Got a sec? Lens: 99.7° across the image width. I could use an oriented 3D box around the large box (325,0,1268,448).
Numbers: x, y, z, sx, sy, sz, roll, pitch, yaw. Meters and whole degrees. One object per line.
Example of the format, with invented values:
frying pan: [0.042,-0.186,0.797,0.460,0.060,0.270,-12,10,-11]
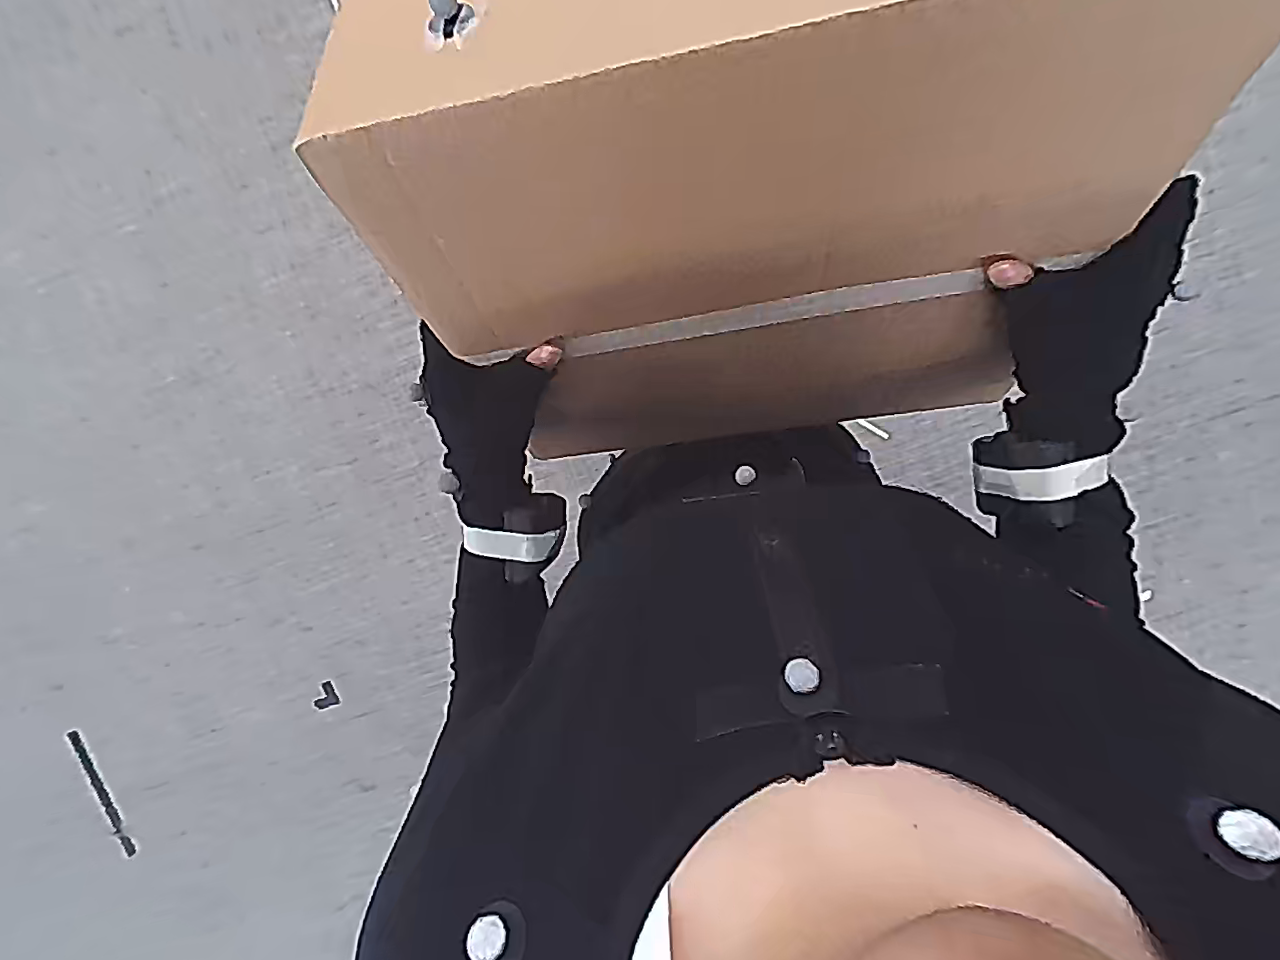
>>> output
large box: [0.065,-0.251,0.412,0.408,0.320,0.320,-7,66,7]
